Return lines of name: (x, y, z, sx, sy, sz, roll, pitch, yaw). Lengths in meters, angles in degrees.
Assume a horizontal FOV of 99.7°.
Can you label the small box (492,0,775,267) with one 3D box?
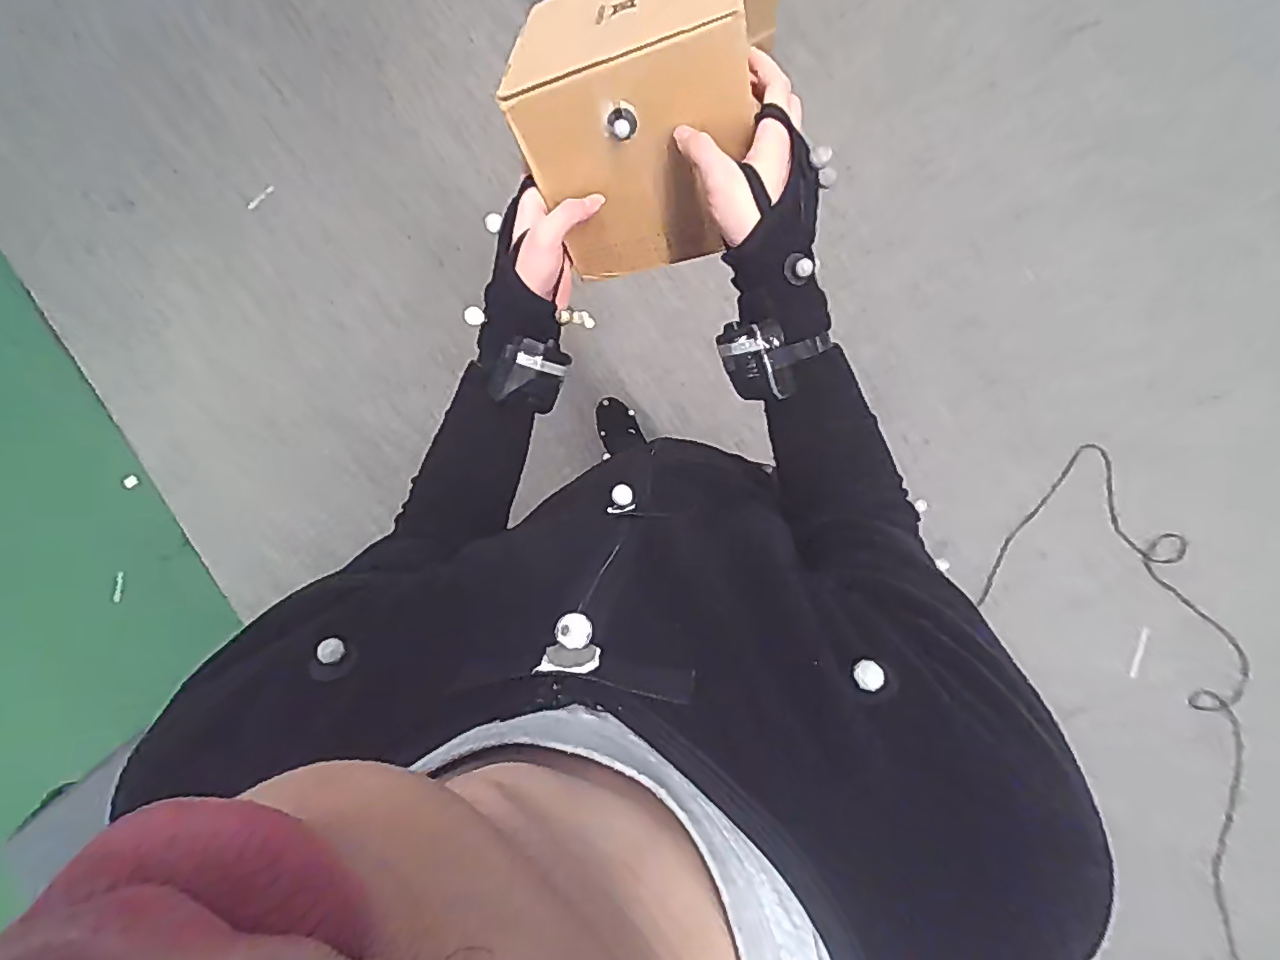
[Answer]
small box: (0.010, -0.303, 0.444, 0.179, 0.176, 0.168, -7, 57, 15)
